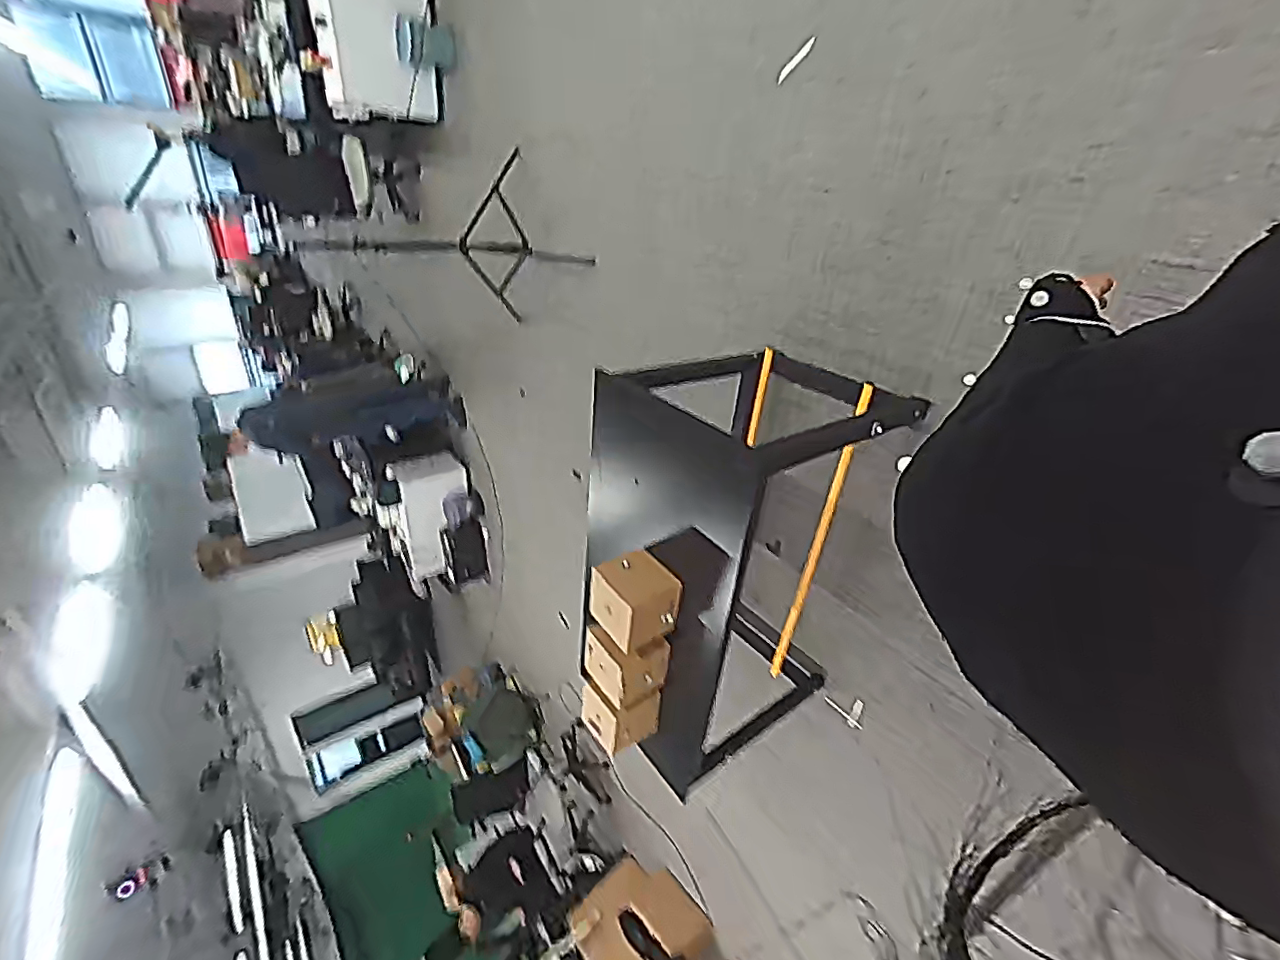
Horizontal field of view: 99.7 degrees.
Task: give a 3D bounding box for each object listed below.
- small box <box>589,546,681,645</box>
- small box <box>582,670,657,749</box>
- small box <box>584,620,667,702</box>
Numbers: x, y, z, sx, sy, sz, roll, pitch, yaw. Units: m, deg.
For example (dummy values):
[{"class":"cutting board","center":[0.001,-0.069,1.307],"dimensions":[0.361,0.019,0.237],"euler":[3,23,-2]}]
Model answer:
[{"class":"small box","center":[-0.016,0.297,1.441],"dimensions":[0.179,0.176,0.168],"euler":[38,134,40]},{"class":"small box","center":[-0.065,0.674,1.664],"dimensions":[0.168,0.176,0.179],"euler":[35,129,42]},{"class":"small box","center":[-0.042,0.489,1.557],"dimensions":[0.179,0.176,0.168],"euler":[37,132,40]}]
